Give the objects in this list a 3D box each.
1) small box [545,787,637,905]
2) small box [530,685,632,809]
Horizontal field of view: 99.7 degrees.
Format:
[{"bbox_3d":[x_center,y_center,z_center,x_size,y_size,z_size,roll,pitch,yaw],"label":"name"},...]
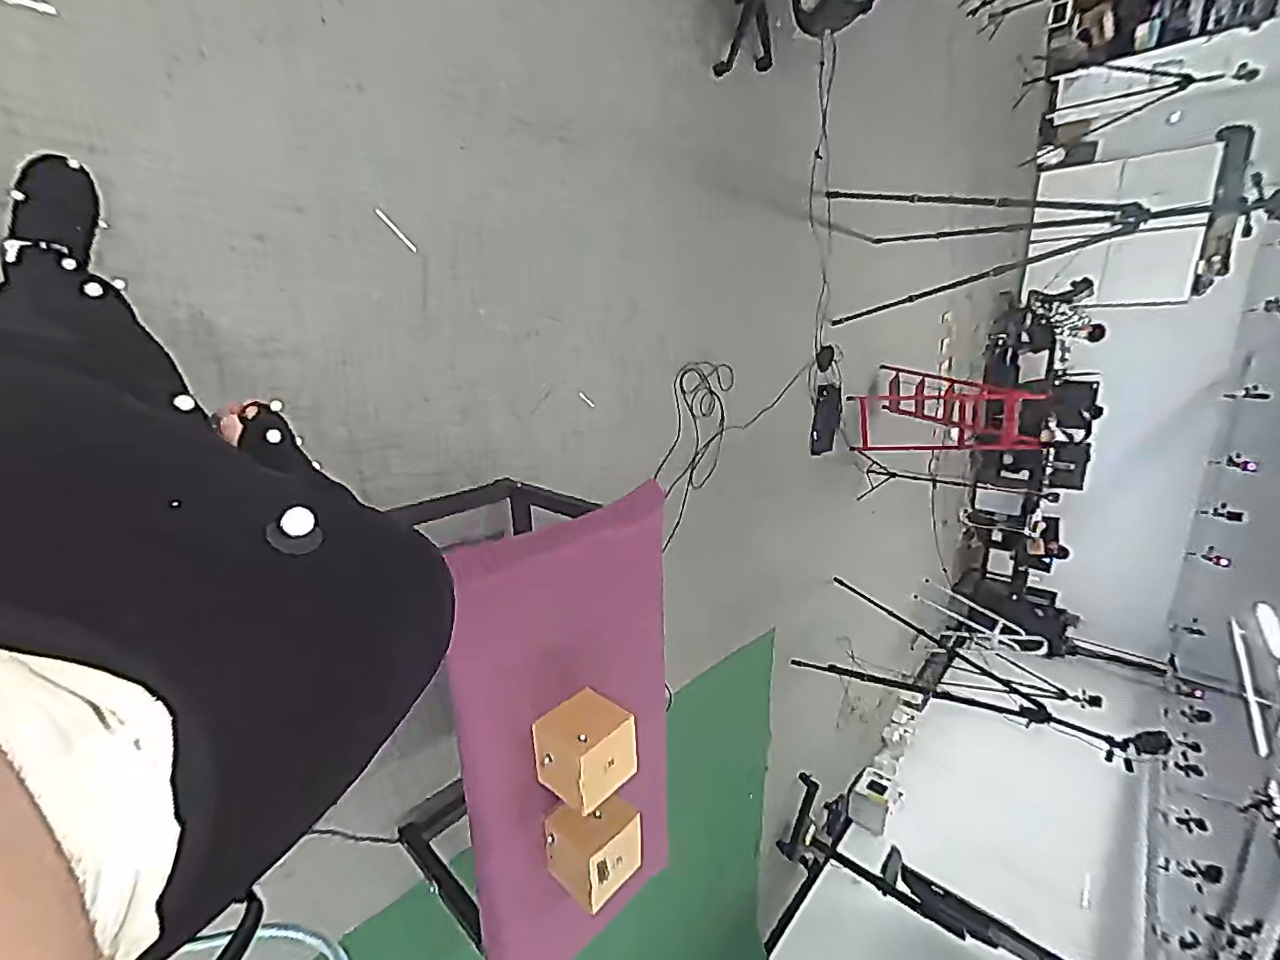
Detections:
[{"bbox_3d":[-0.129,0.904,1.374,0.179,0.176,0.168,-16,111,-46],"label":"small box"},{"bbox_3d":[-0.139,0.627,1.296,0.179,0.176,0.168,-19,114,-43],"label":"small box"}]
